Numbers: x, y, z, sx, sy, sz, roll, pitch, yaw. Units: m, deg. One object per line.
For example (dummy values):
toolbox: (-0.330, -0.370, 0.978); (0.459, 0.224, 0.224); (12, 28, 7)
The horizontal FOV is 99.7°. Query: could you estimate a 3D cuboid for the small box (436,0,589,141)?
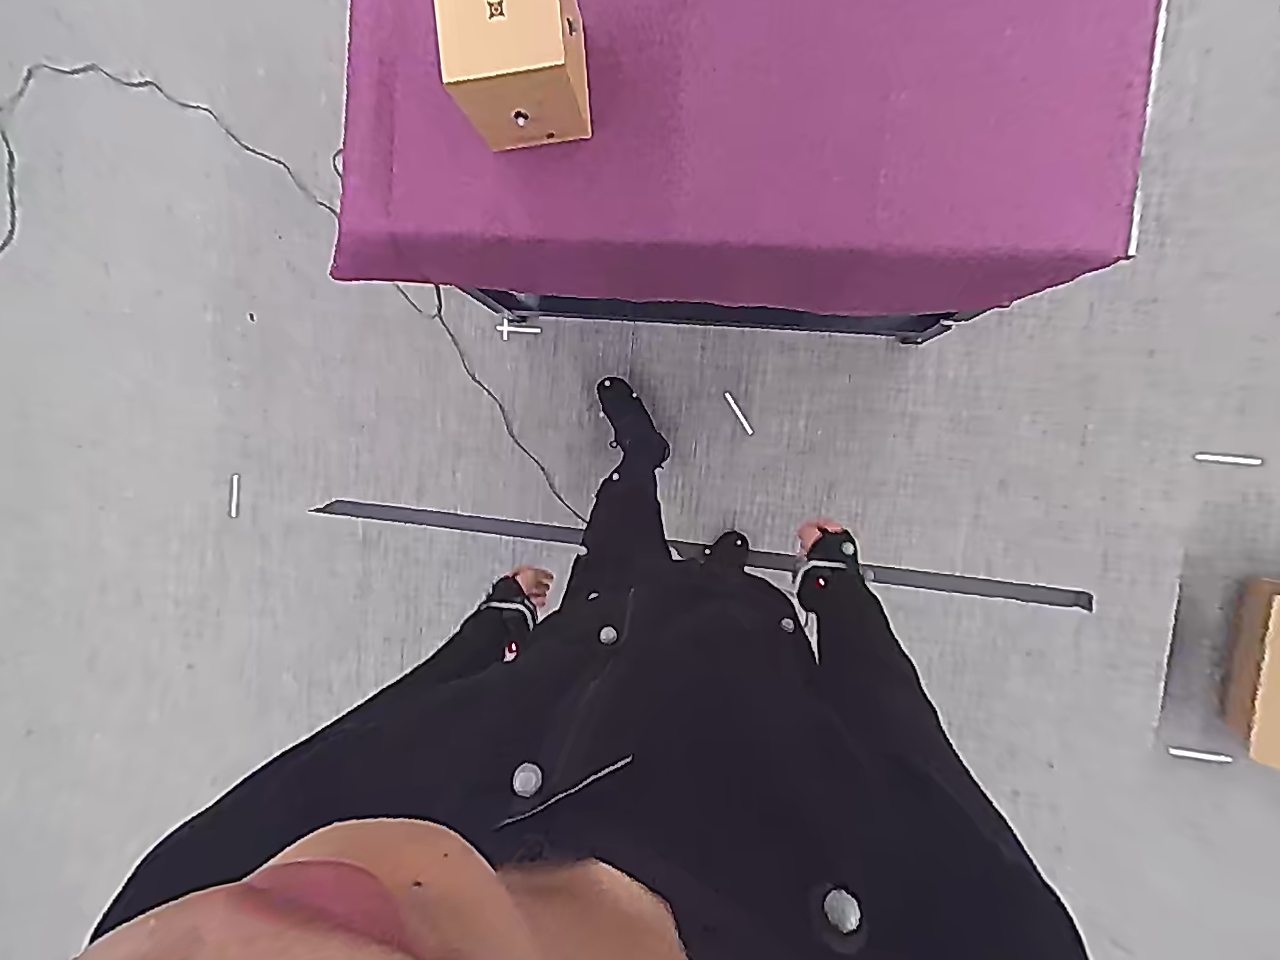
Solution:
small box: (-0.170, -0.612, 0.765); (0.168, 0.176, 0.179); (-3, 93, 6)
